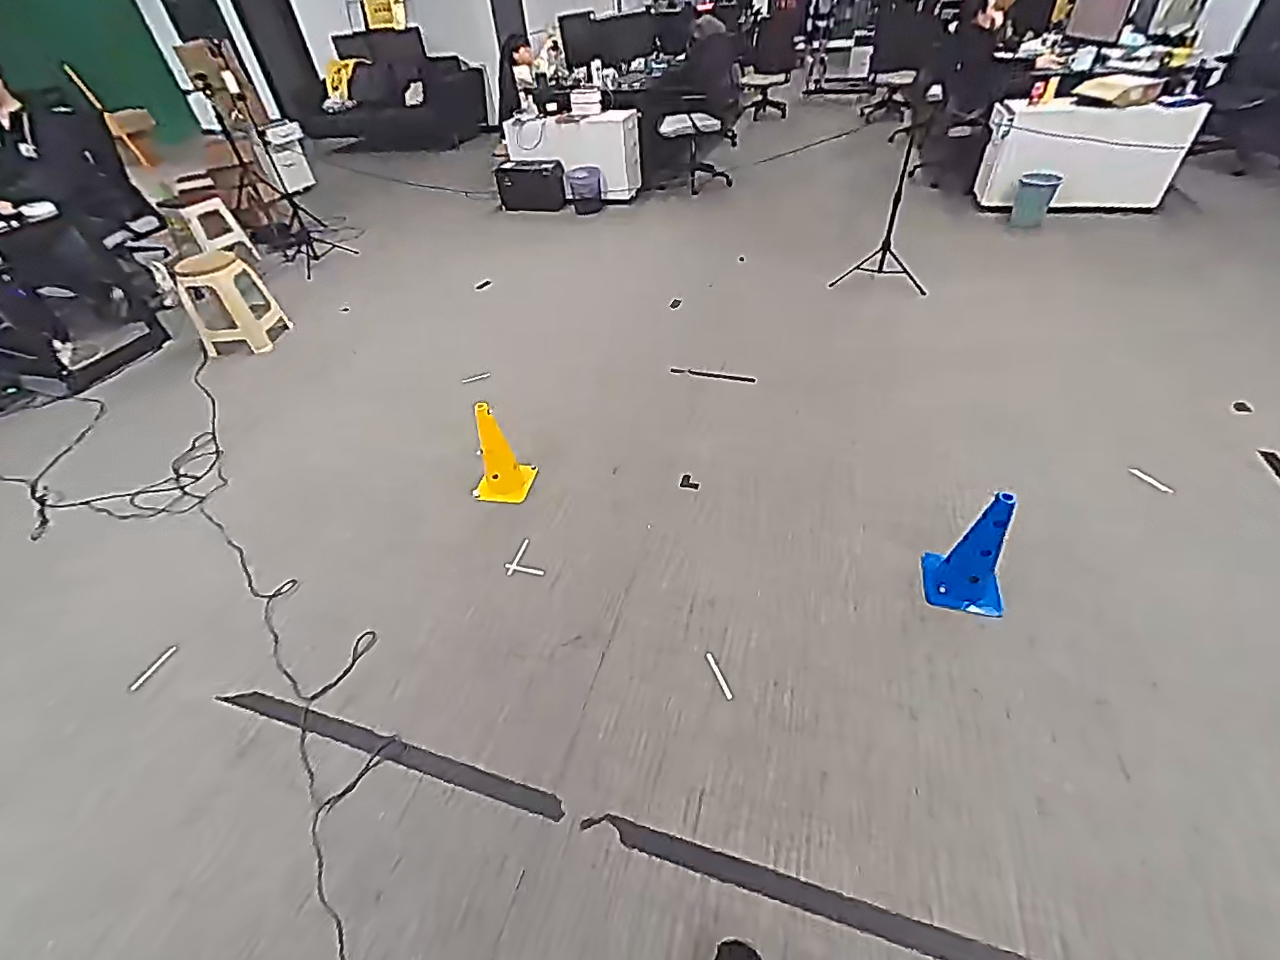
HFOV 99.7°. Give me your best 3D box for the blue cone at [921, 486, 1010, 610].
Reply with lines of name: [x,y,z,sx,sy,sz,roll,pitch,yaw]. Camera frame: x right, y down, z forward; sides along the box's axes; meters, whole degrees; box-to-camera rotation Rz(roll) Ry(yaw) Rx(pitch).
blue cone: [0.925,0.172,1.480,0.193,0.380,0.192,10,43,16]
